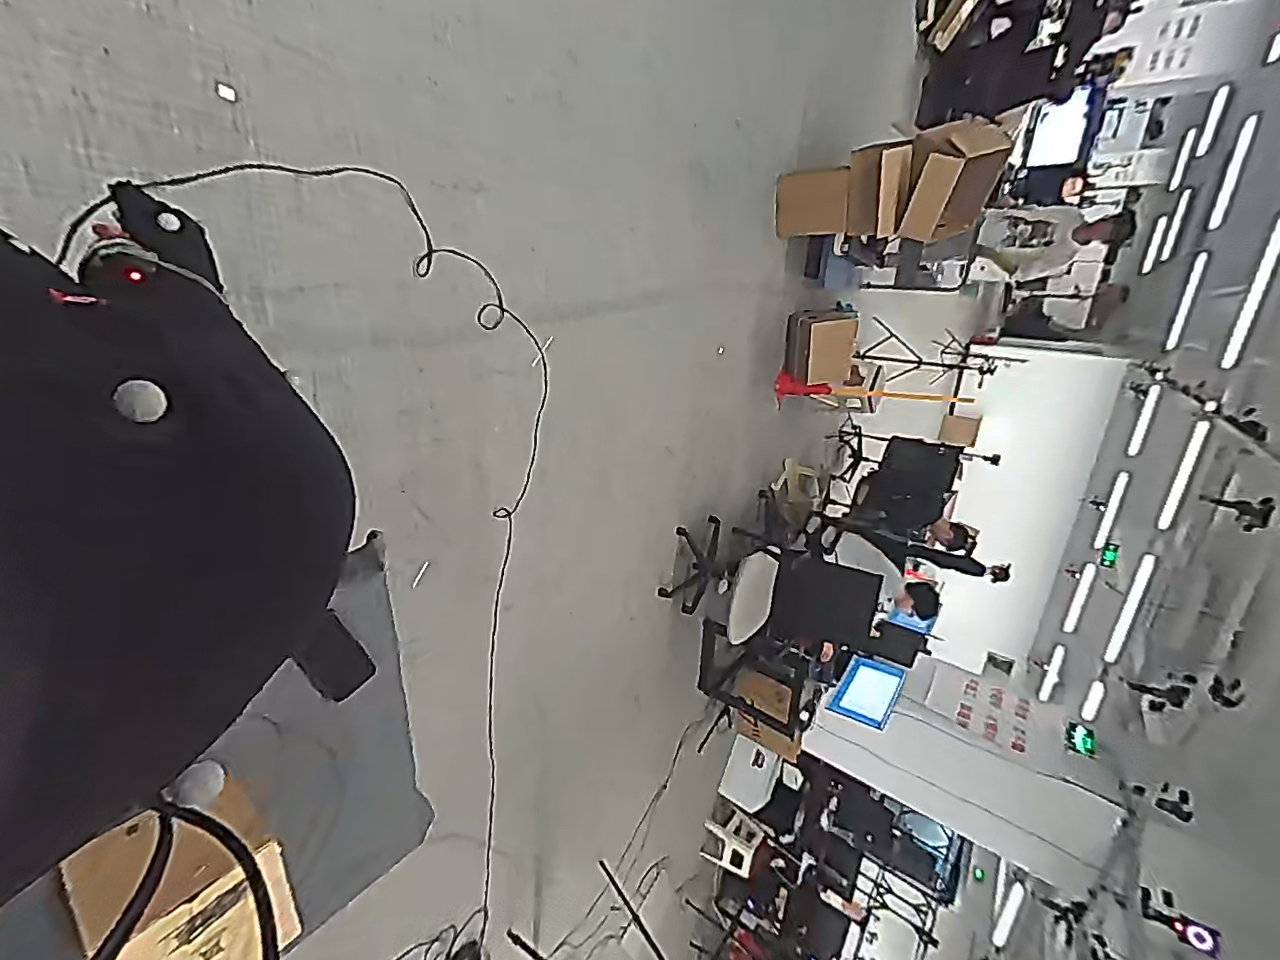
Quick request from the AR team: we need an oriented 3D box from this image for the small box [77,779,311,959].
[{"bbox_3d":[-0.547,0.511,0.671,0.168,0.176,0.179,-24,123,-49],"label":"small box"}]
